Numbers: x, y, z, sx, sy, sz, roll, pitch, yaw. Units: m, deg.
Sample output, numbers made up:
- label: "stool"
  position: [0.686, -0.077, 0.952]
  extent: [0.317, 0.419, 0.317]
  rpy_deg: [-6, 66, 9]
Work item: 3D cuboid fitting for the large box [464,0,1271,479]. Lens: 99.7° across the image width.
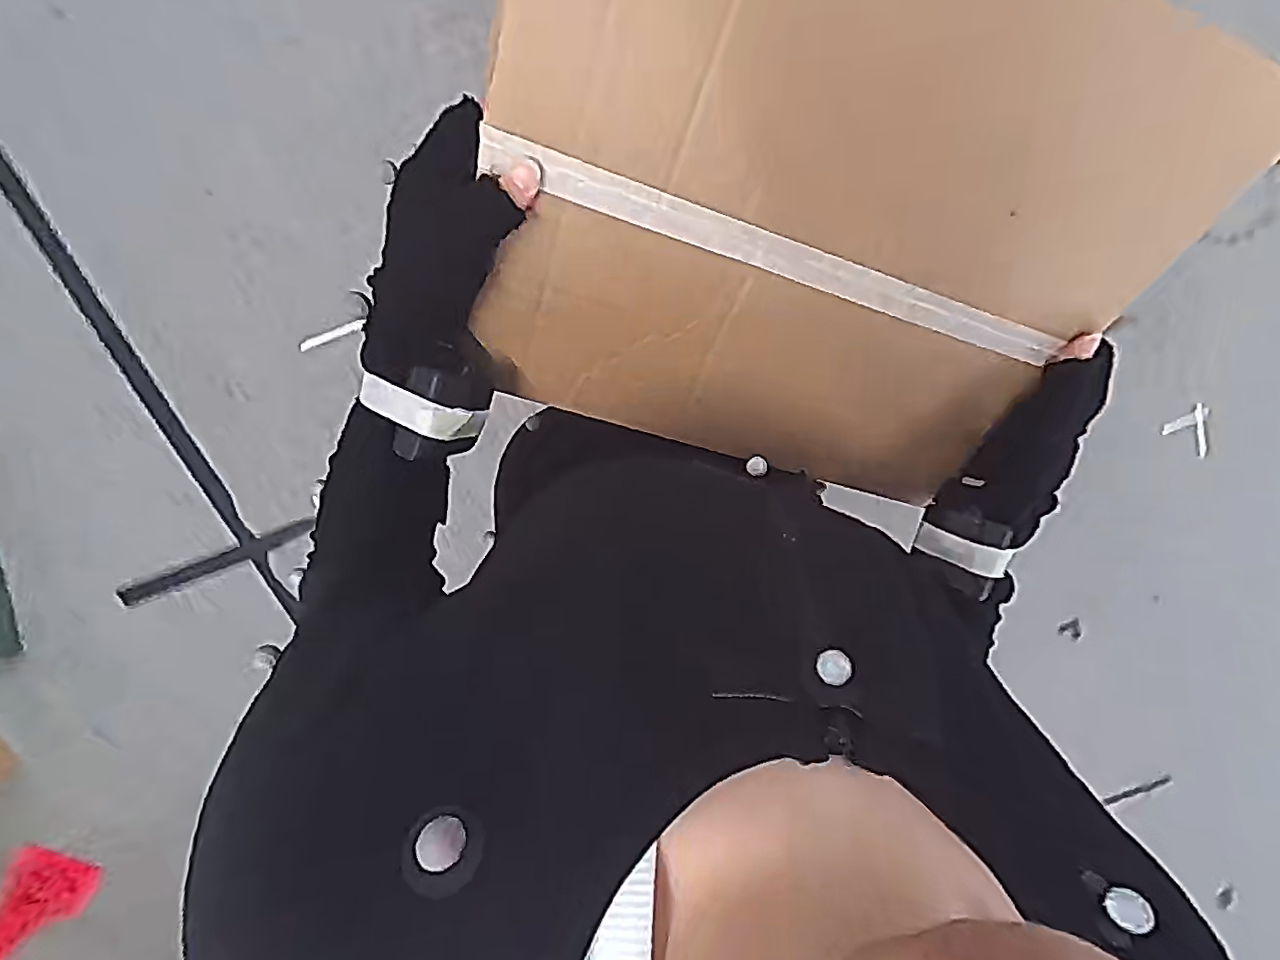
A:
- label: "large box"
  position: [0.102, -0.246, 0.449]
  extent: [0.408, 0.320, 0.320]
  rpy_deg: [12, 133, -12]
